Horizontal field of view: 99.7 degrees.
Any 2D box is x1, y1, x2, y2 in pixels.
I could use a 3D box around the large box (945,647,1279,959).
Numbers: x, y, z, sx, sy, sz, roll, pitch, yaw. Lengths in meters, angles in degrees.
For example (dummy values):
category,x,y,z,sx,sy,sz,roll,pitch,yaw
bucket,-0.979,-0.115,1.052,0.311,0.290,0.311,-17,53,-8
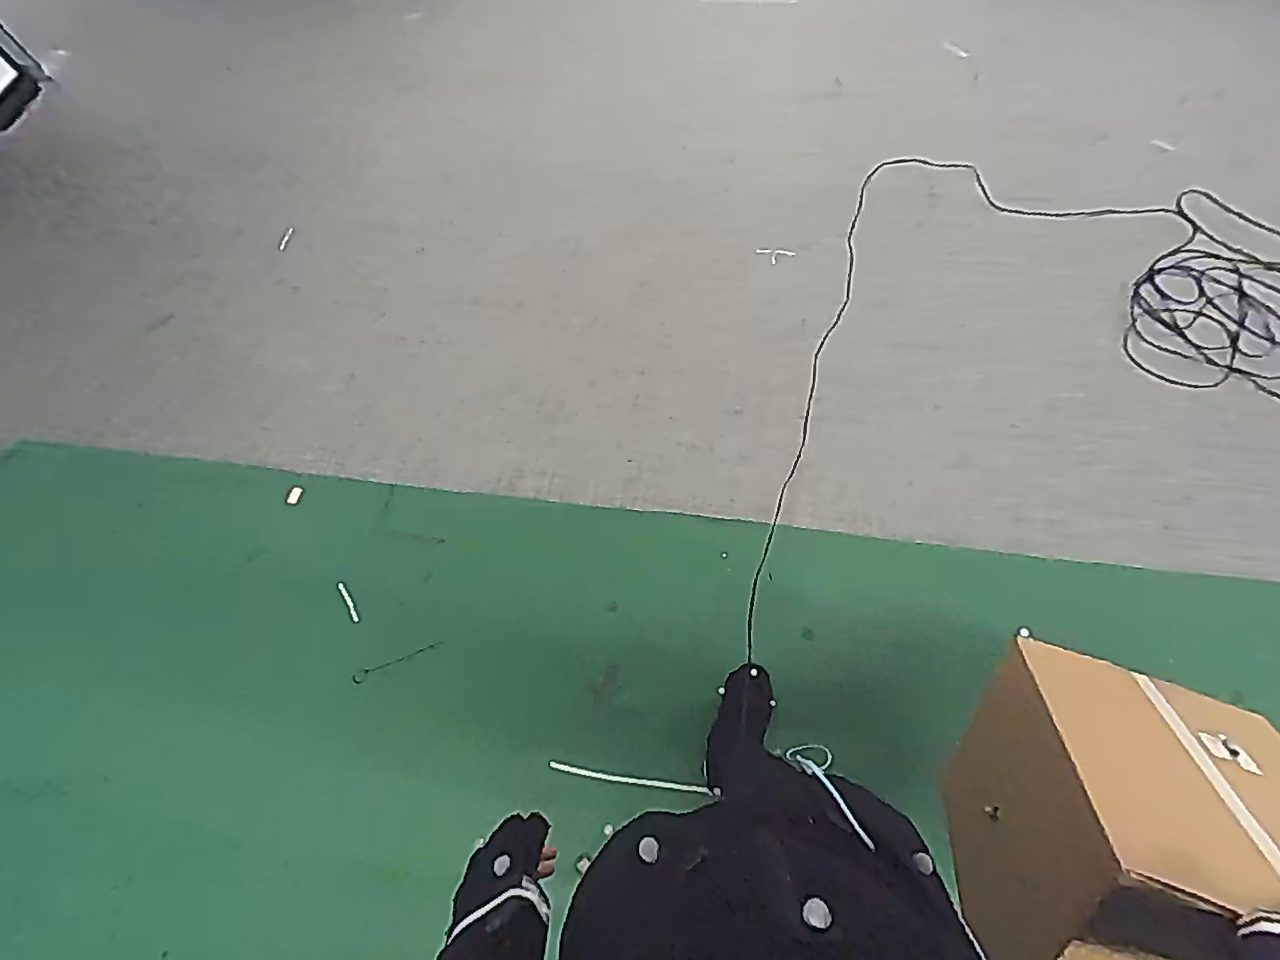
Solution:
category,x,y,z,sx,sy,sz,roll,pitch,yaw
large box,0.618,0.489,0.668,0.320,0.408,0.320,18,111,17
